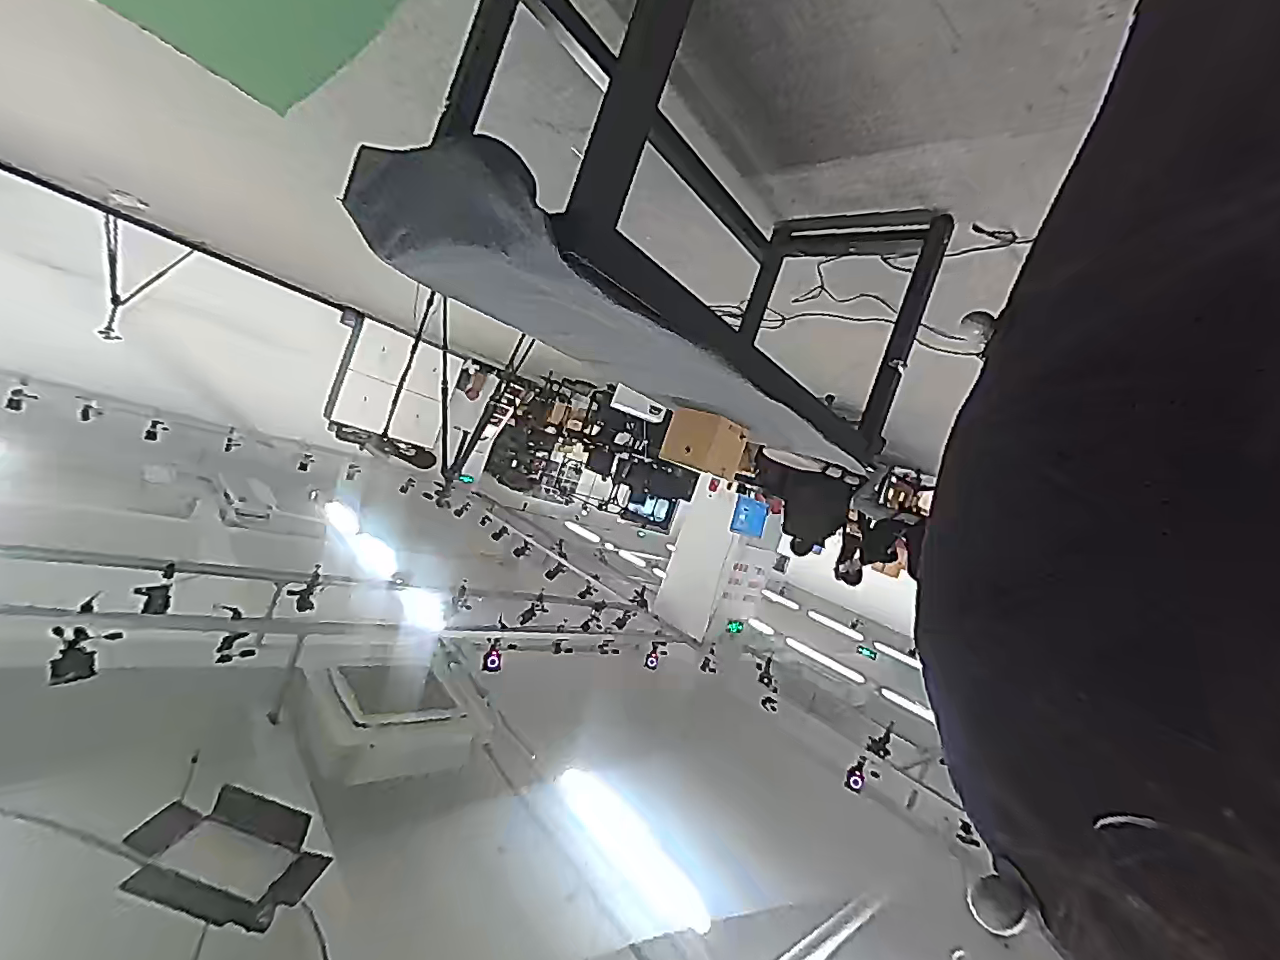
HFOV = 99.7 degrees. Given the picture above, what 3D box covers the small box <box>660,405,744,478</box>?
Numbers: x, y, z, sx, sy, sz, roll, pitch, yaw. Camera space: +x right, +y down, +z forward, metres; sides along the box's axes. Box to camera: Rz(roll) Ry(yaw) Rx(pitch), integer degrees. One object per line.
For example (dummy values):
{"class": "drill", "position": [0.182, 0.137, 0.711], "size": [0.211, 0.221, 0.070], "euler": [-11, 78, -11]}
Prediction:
{"class": "small box", "position": [0.194, -0.118, 1.623], "size": [0.179, 0.176, 0.168], "euler": [20, -178, 43]}
